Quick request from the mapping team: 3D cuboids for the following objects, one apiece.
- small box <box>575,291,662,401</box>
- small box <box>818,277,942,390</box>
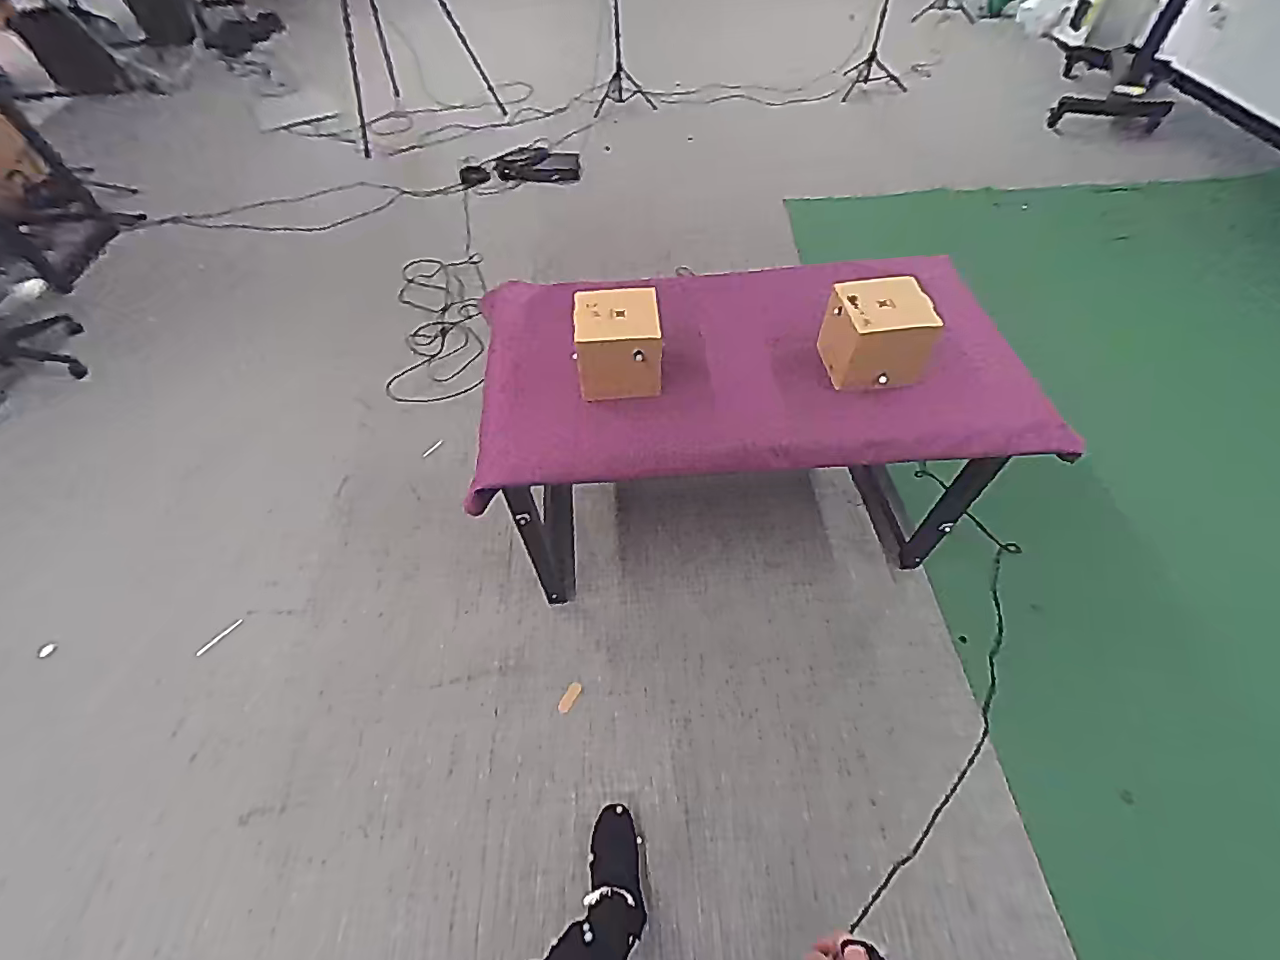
[{"bbox_3d":[-0.045,-0.290,1.185,0.179,0.176,0.168,-4,54,0],"label":"small box"},{"bbox_3d":[0.509,-0.314,1.175,0.179,0.176,0.168,-6,54,-1],"label":"small box"}]
